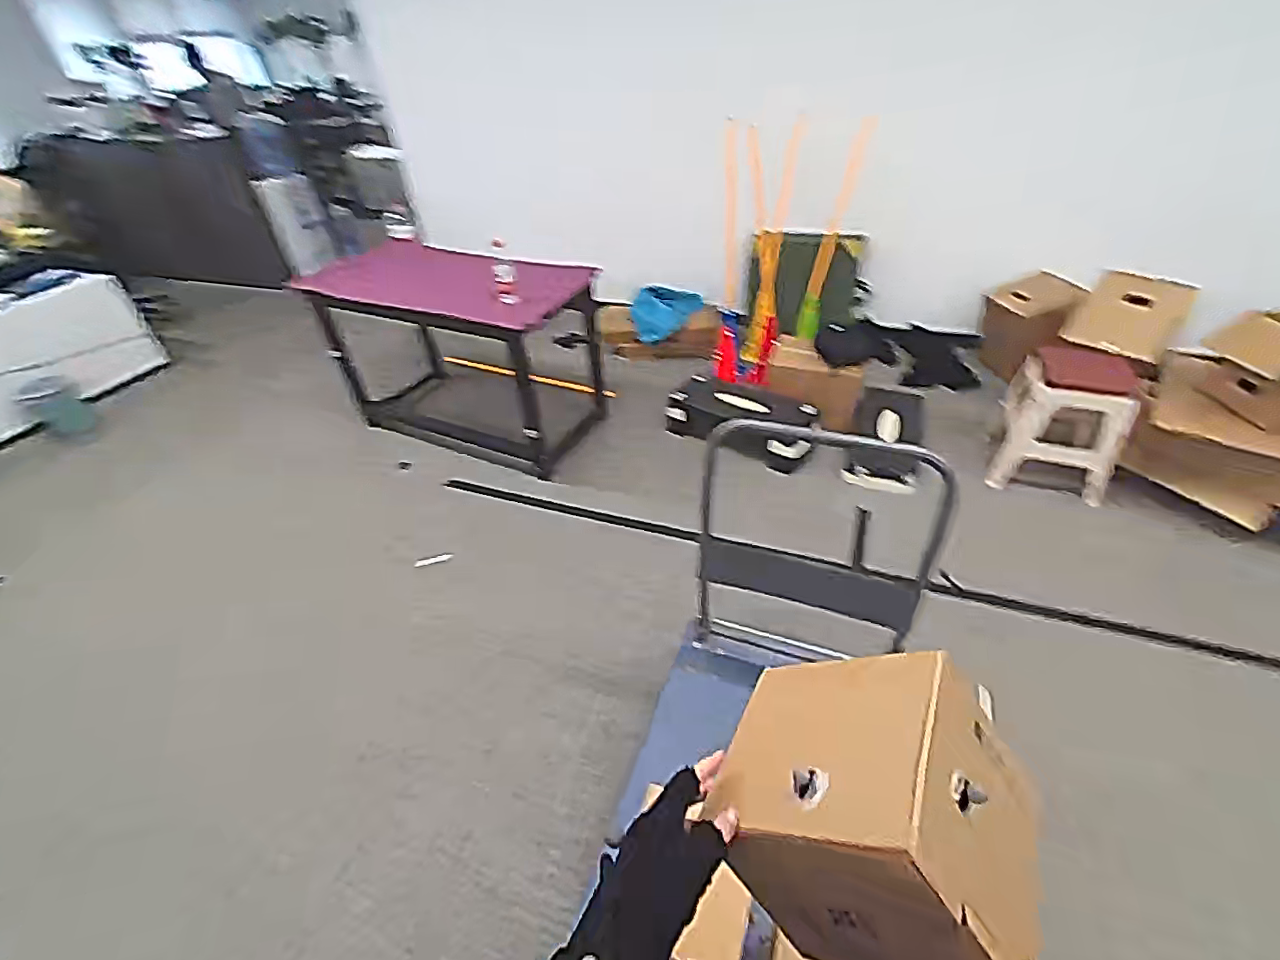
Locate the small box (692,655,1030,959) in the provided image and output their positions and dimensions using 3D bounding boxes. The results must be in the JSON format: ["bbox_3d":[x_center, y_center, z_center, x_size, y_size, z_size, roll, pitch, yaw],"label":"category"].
[{"bbox_3d":[0.180,0.261,0.434,0.179,0.168,0.176,-26,15,44],"label":"small box"}]

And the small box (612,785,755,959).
[{"bbox_3d":[0.072,0.574,0.754,0.168,0.176,0.179,12,42,18],"label":"small box"}]
